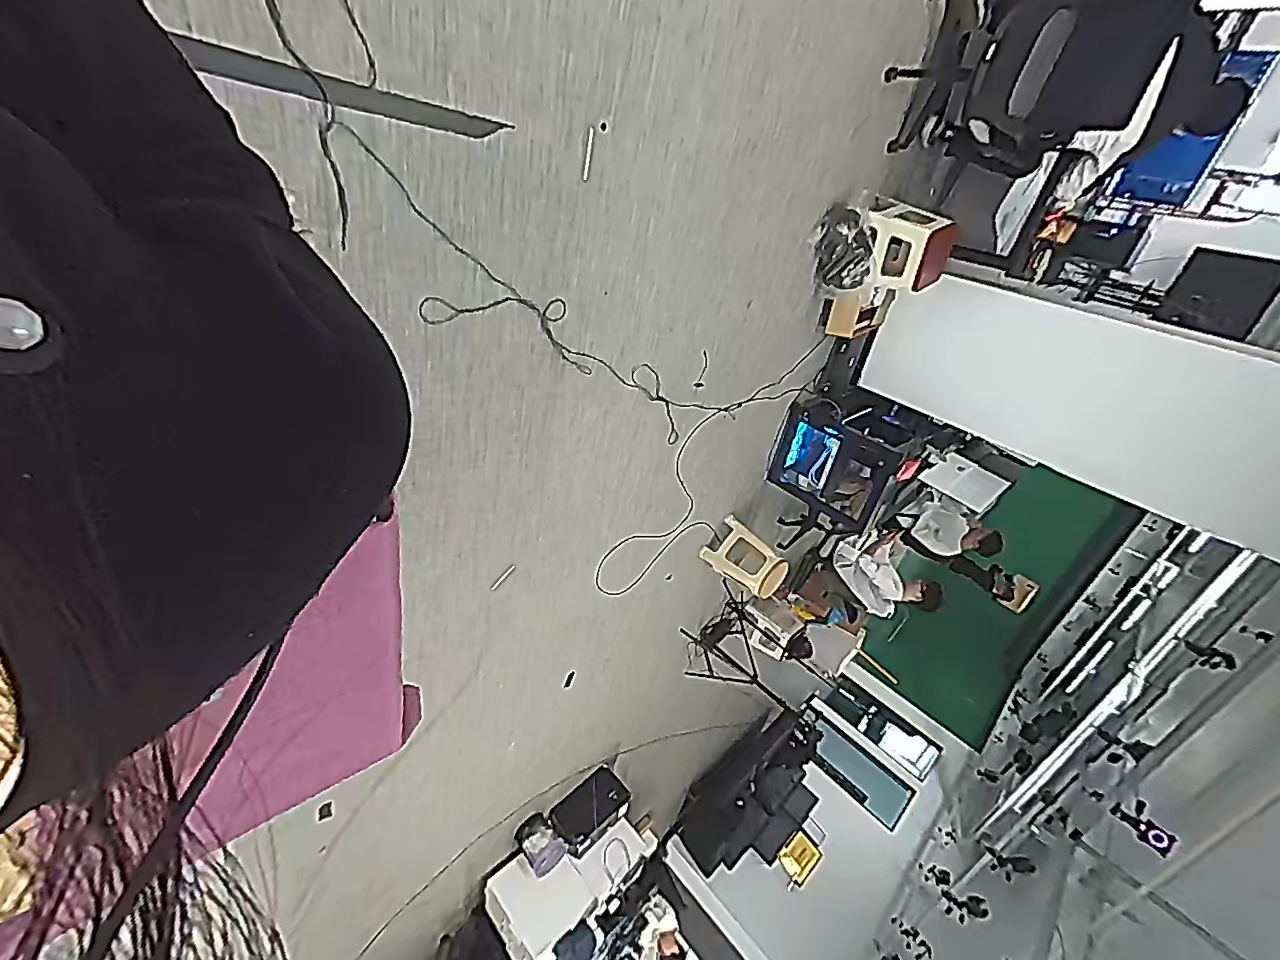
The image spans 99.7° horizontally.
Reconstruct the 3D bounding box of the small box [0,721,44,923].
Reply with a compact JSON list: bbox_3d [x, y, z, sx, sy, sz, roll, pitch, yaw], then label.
[{"bbox_3d":[-0.788,0.397,0.583,0.168,0.176,0.179,-16,131,-45],"label":"small box"}]
